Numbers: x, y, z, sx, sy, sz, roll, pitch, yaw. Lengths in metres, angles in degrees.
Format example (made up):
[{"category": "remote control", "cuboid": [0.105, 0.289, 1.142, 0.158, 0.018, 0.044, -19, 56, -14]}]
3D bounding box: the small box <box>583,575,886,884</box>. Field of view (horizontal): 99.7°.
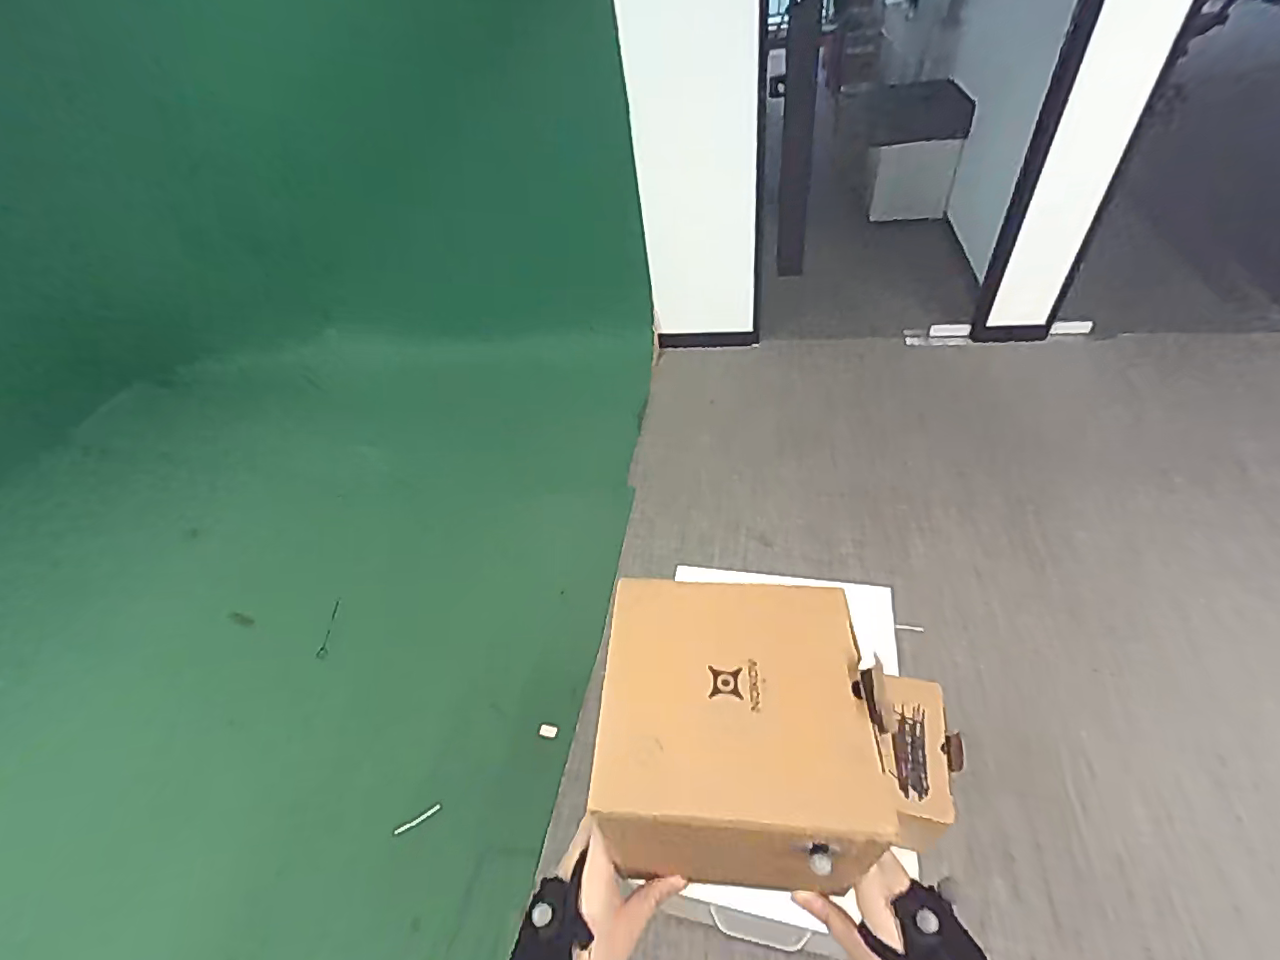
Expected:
[{"category": "small box", "cuboid": [0.064, 0.192, 0.419, 0.179, 0.176, 0.168, 1, 44, 6]}]
